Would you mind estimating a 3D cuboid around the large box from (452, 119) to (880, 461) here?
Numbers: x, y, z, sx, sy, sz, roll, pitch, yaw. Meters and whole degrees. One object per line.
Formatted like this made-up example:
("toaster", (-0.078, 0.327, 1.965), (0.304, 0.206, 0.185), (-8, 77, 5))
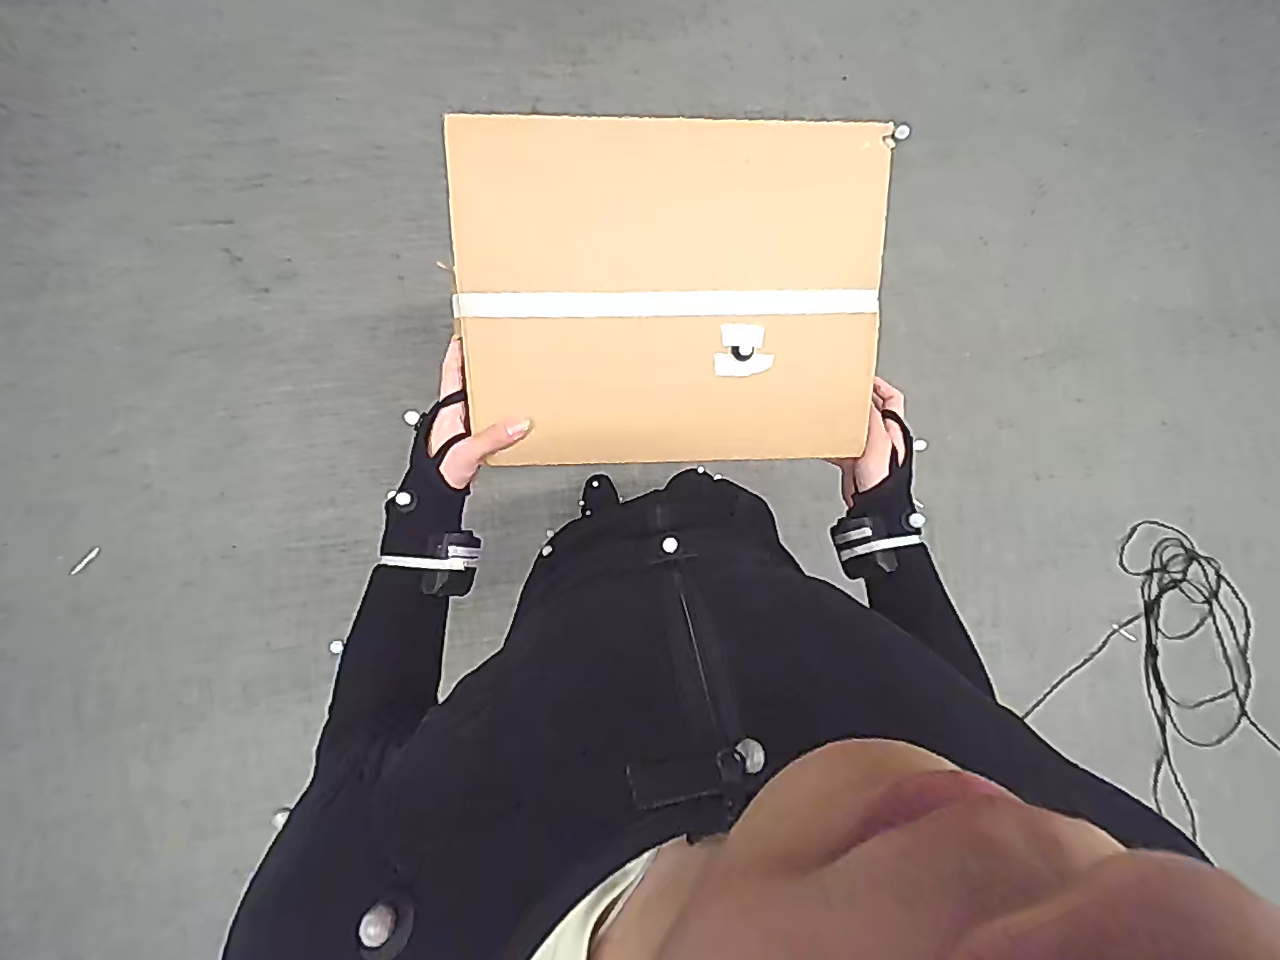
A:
("large box", (0.020, -0.212, 0.671), (0.408, 0.320, 0.320), (-2, 104, -5))
